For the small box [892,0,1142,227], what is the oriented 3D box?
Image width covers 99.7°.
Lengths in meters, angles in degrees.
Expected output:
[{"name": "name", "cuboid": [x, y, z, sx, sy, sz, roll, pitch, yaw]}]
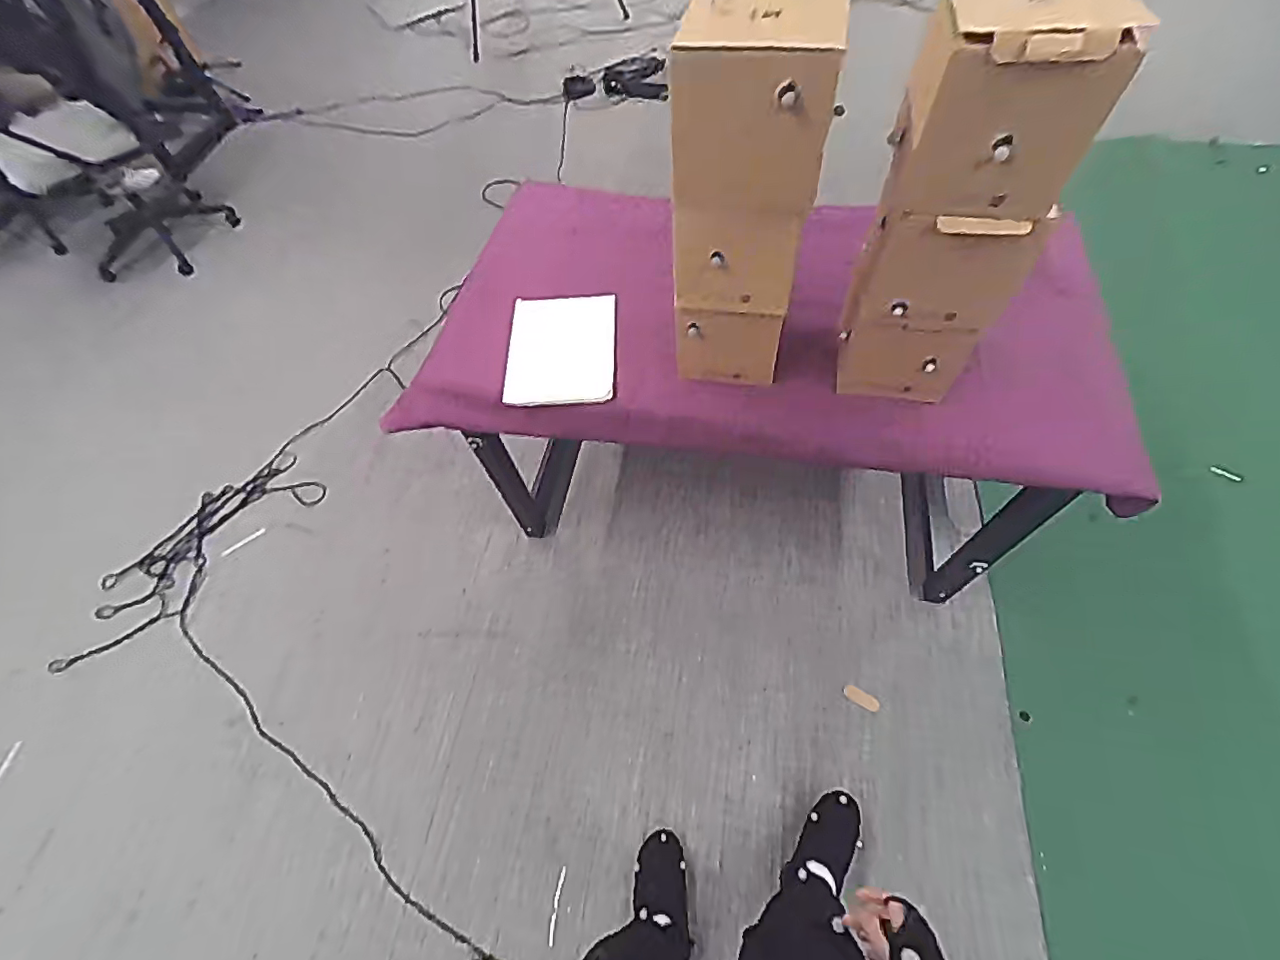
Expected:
[{"name": "small box", "cuboid": [0.396, -0.411, 0.607, 0.168, 0.176, 0.179, 9, 60, 9]}]

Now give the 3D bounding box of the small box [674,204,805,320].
[{"name": "small box", "cuboid": [0.149, -0.356, 0.789, 0.168, 0.176, 0.179, 8, 58, 10]}]

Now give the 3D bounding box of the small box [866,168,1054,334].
[{"name": "small box", "cuboid": [0.419, -0.323, 0.744, 0.168, 0.176, 0.179, 7, 58, 8]}]

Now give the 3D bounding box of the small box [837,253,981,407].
[{"name": "small box", "cuboid": [0.428, -0.241, 0.885, 0.168, 0.176, 0.179, 8, 59, 9]}]

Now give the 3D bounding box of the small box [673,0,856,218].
[{"name": "small box", "cuboid": [0.143, -0.437, 0.644, 0.179, 0.176, 0.168, 9, 58, 12]}]
